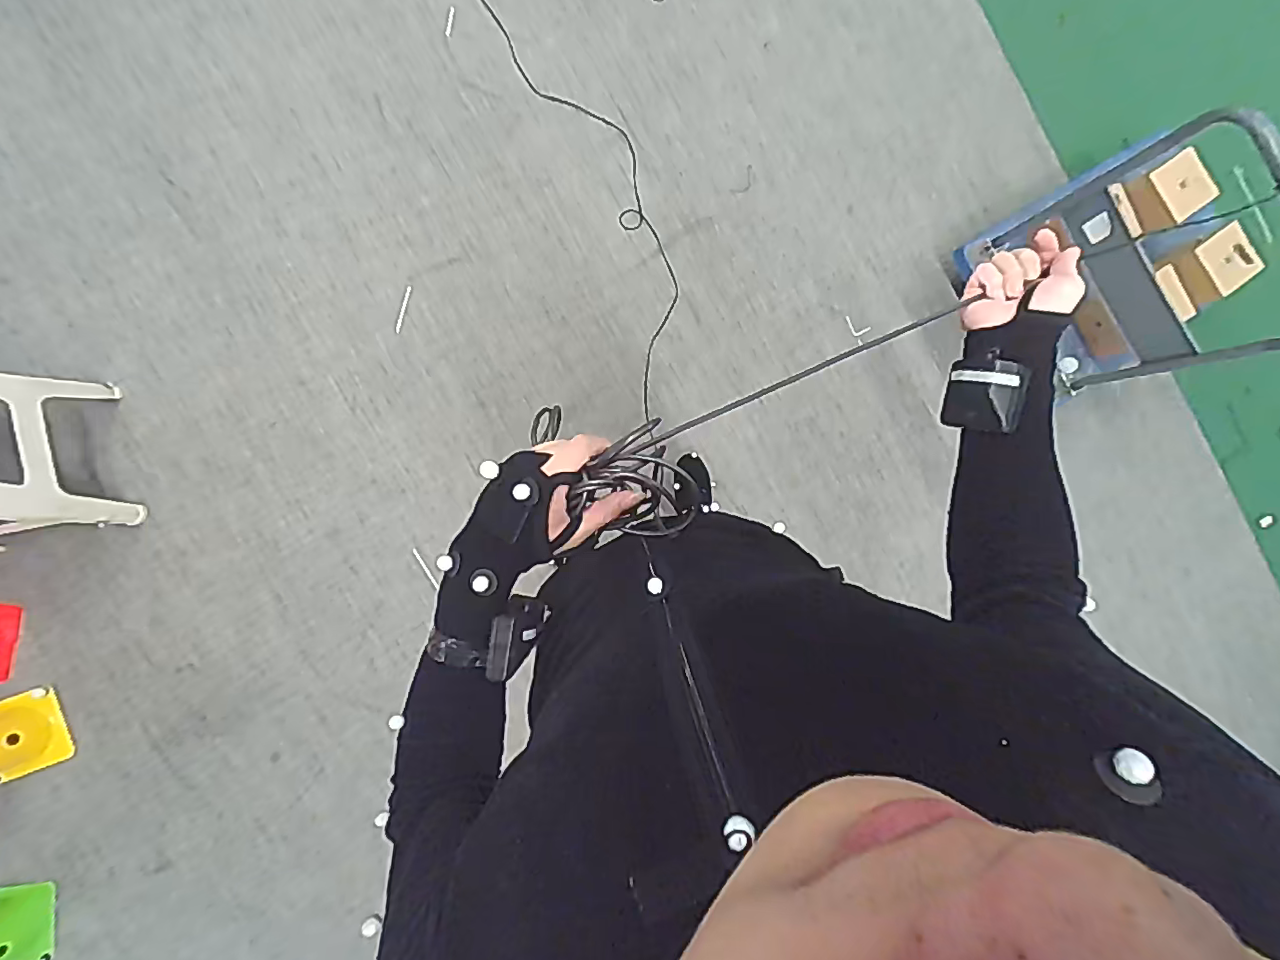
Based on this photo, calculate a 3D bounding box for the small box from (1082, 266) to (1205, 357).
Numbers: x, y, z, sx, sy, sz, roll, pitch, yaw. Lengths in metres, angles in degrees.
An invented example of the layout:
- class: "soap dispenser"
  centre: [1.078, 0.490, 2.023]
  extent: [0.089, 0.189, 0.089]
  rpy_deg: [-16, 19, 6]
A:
- class: "small box"
  centre: [1.460, -0.485, 1.577]
  extent: [0.179, 0.176, 0.168]
  rpy_deg: [-30, 91, -6]

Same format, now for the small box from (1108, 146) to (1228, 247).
- class: "small box"
  centre: [1.547, -0.829, 1.602]
  extent: [0.179, 0.176, 0.168]
  rpy_deg: [-34, 93, -7]

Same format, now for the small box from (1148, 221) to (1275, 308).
- class: "small box"
  centre: [1.690, -0.622, 1.610]
  extent: [0.179, 0.176, 0.168]
  rpy_deg: [-34, 91, -6]
